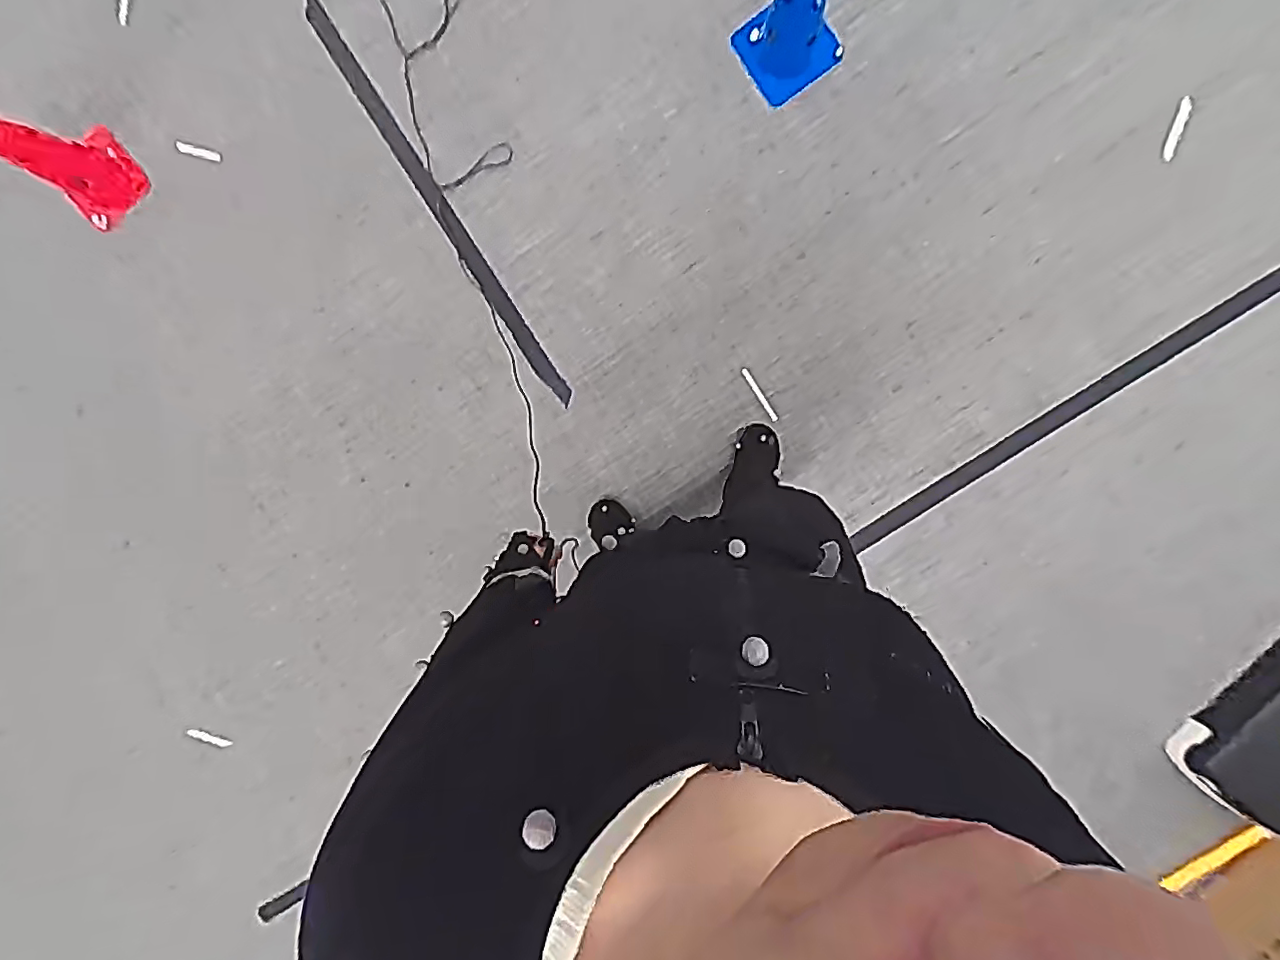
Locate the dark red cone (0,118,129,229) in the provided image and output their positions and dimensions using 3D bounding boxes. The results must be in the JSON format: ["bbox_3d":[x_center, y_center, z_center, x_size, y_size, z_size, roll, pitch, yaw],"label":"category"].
[{"bbox_3d":[-1.413,-0.749,1.198,0.201,0.394,0.202,-41,91,6],"label":"dark red cone"}]

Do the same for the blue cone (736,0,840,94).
[{"bbox_3d":[0.327,-0.991,1.077,0.192,0.380,0.193,-33,92,5],"label":"blue cone"}]
